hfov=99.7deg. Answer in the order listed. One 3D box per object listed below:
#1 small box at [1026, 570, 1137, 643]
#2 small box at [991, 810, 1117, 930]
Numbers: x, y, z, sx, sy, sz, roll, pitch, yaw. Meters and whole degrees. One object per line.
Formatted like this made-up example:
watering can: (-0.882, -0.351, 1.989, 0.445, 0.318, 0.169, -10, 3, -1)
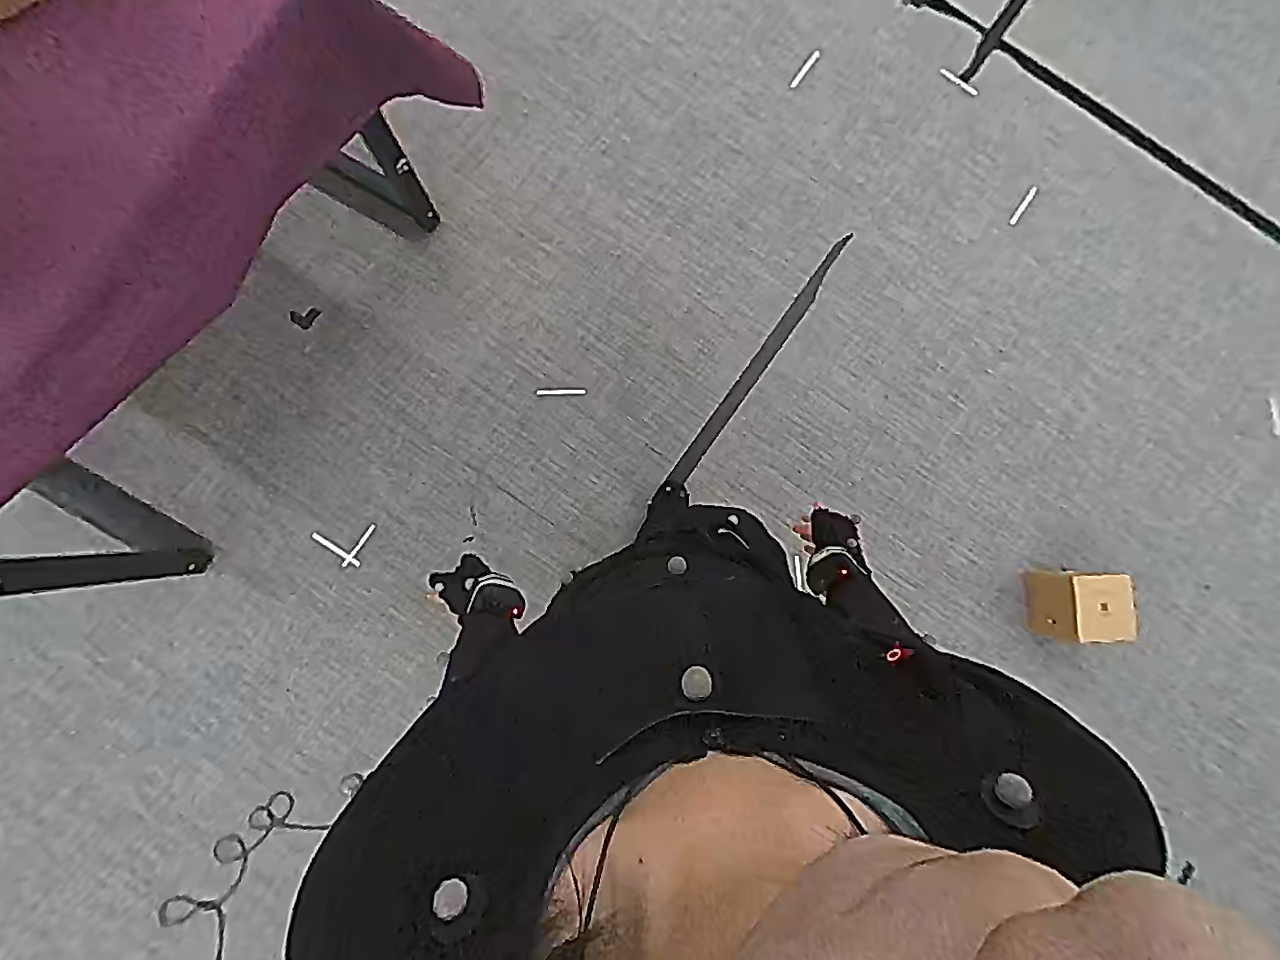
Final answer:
small box: (1.213, 0.344, 1.496, 0.168, 0.176, 0.179, -1, 84, -5)
small box: (1.079, 1.013, 1.425, 0.179, 0.176, 0.168, 28, 84, 1)
